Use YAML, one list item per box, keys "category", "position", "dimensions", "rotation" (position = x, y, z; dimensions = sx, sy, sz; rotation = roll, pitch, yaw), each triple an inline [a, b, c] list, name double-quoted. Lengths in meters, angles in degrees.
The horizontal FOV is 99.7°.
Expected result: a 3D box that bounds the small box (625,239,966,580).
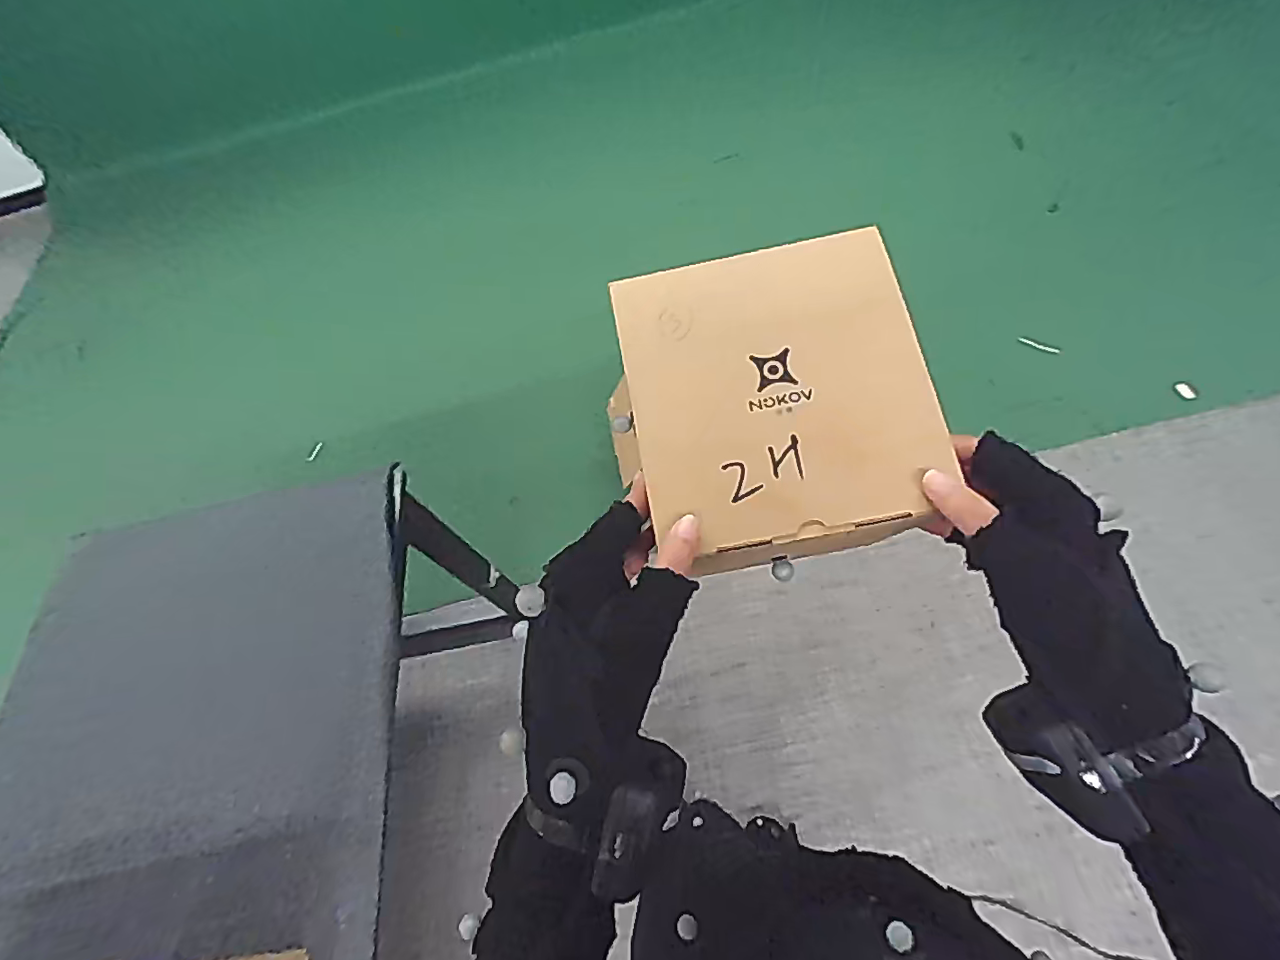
- category: "small box"
  position: [0.089, -0.033, 0.390]
  dimensions: [0.168, 0.176, 0.179]
  rotation: [-11, 74, 4]
